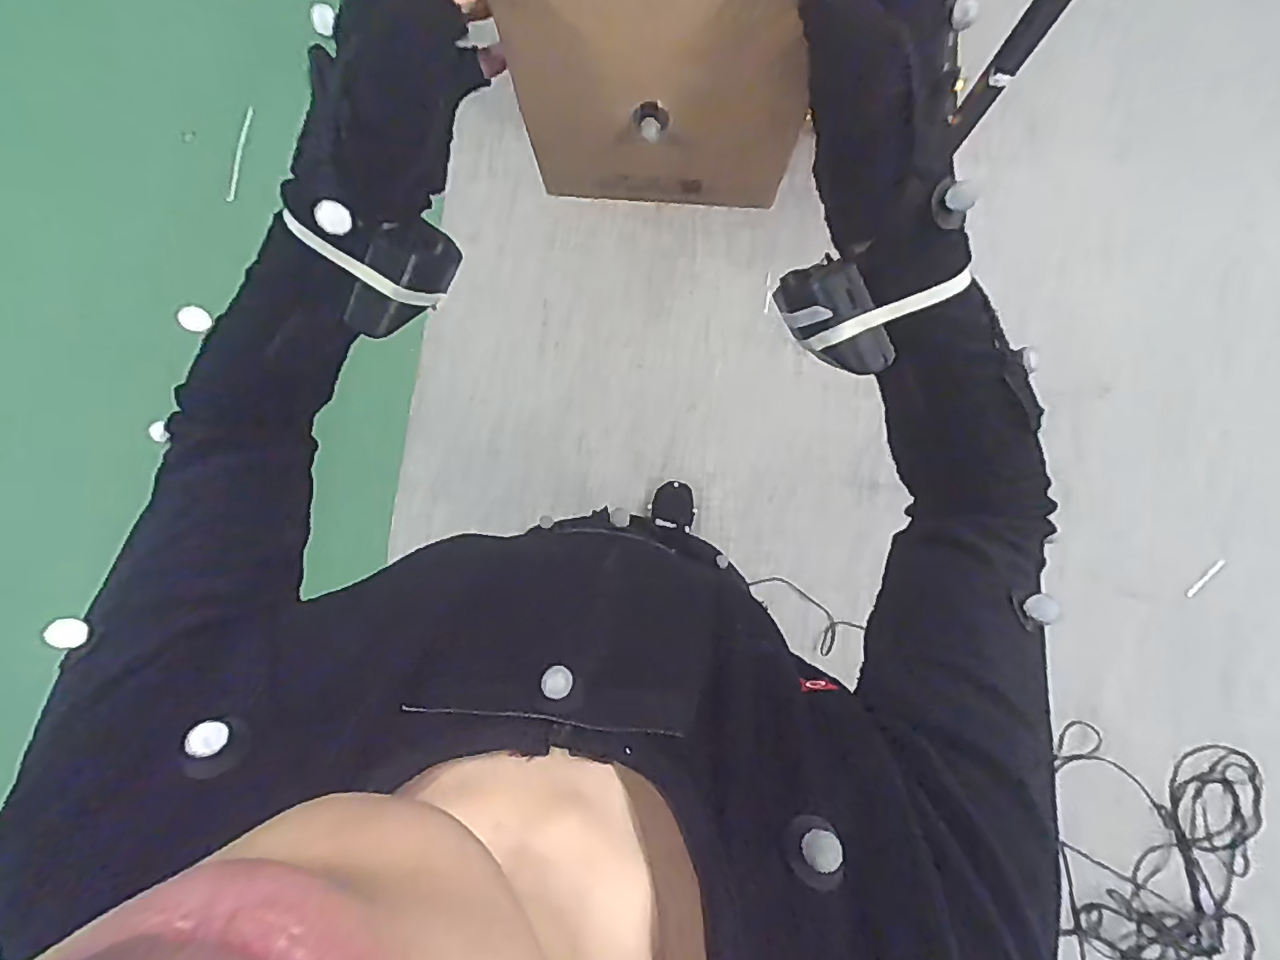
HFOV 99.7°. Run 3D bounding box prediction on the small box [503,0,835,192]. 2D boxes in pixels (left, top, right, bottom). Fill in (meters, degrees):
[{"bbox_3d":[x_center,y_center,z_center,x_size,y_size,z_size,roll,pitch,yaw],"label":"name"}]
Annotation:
[{"bbox_3d":[0.023,-0.303,0.321,0.168,0.176,0.179,5,82,1],"label":"small box"}]
